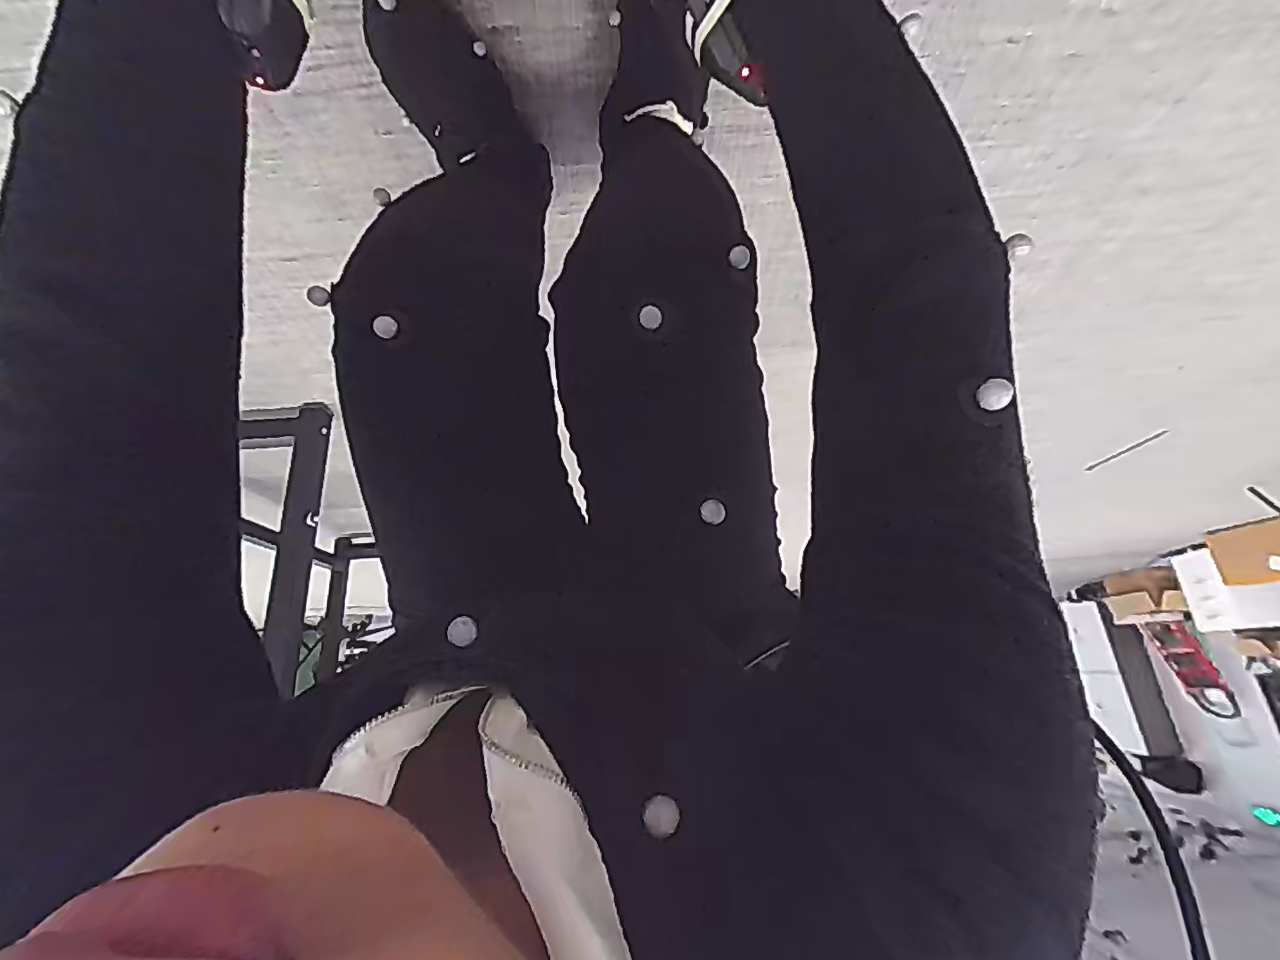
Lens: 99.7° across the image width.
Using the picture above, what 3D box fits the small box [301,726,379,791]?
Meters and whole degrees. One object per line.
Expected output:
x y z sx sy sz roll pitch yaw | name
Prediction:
-0.983 0.914 1.788 0.179 0.176 0.168 -3 159 -3 | small box
